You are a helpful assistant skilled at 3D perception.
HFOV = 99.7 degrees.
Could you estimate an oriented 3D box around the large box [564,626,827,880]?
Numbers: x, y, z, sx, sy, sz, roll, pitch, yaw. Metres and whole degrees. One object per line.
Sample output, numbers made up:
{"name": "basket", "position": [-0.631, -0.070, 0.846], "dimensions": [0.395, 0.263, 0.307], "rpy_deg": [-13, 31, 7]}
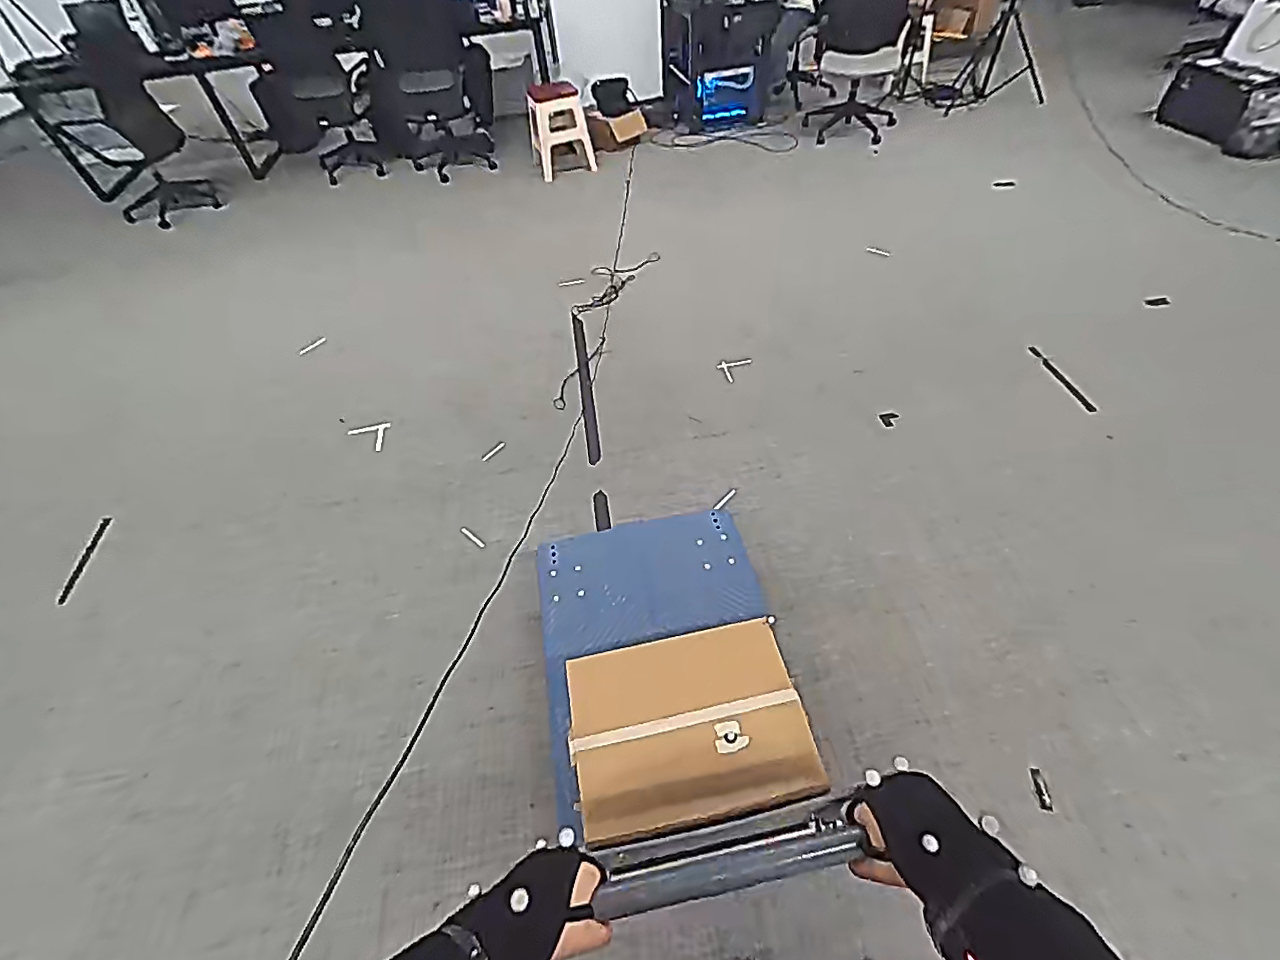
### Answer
{"name": "large box", "position": [0.088, 0.533, 1.054], "dimensions": [0.408, 0.320, 0.320], "rpy_deg": [-11, 50, -4]}
